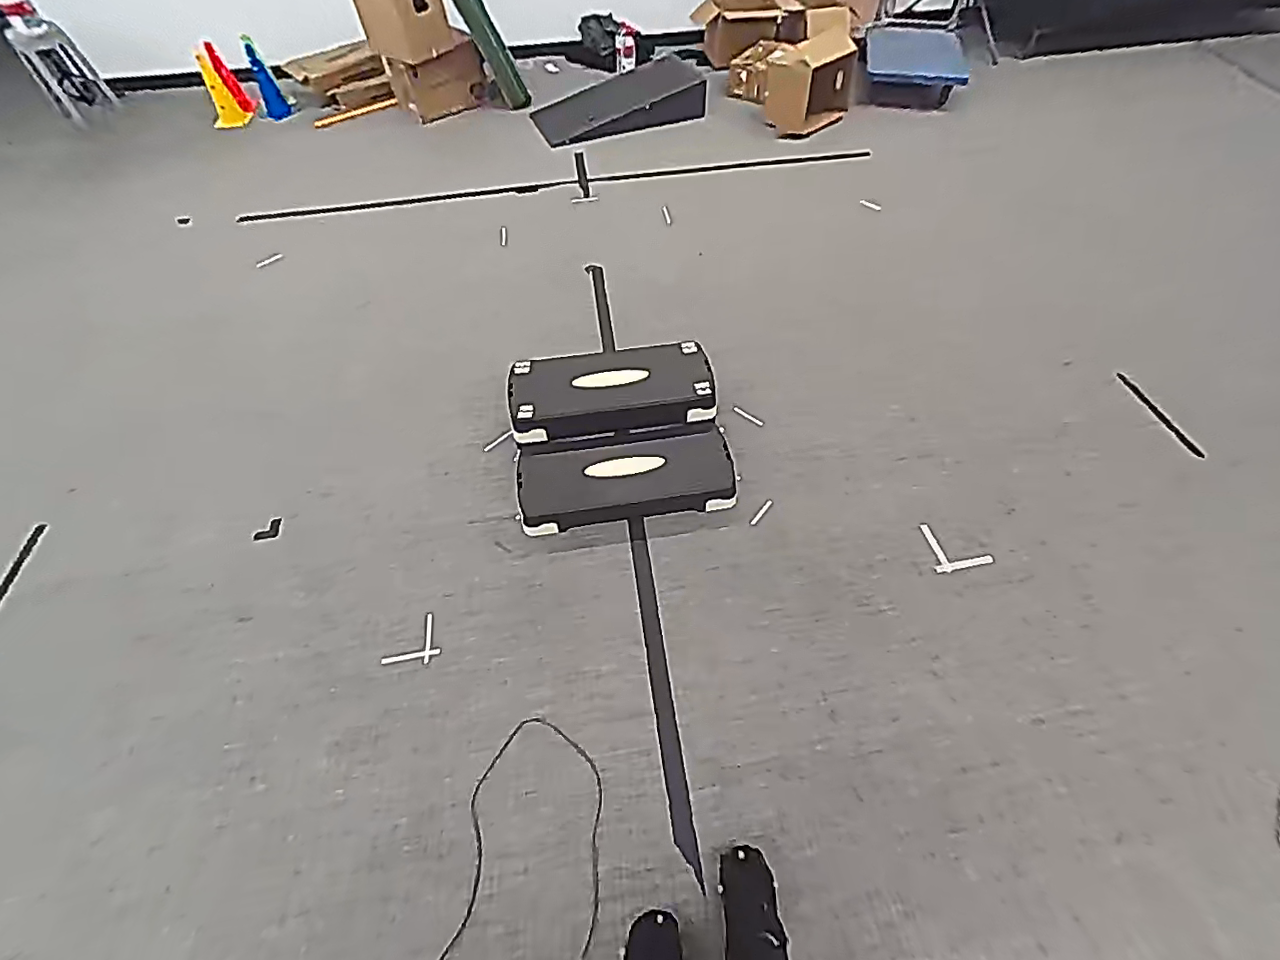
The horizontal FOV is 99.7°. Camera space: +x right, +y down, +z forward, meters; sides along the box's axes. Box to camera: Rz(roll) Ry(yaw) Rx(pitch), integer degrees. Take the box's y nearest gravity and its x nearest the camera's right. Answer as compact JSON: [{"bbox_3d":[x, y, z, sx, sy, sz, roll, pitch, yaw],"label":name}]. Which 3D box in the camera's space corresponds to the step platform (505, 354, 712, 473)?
[{"bbox_3d":[-0.103,-0.232,1.816,0.684,0.204,0.286,-8,55,-5],"label":"step platform"}]
